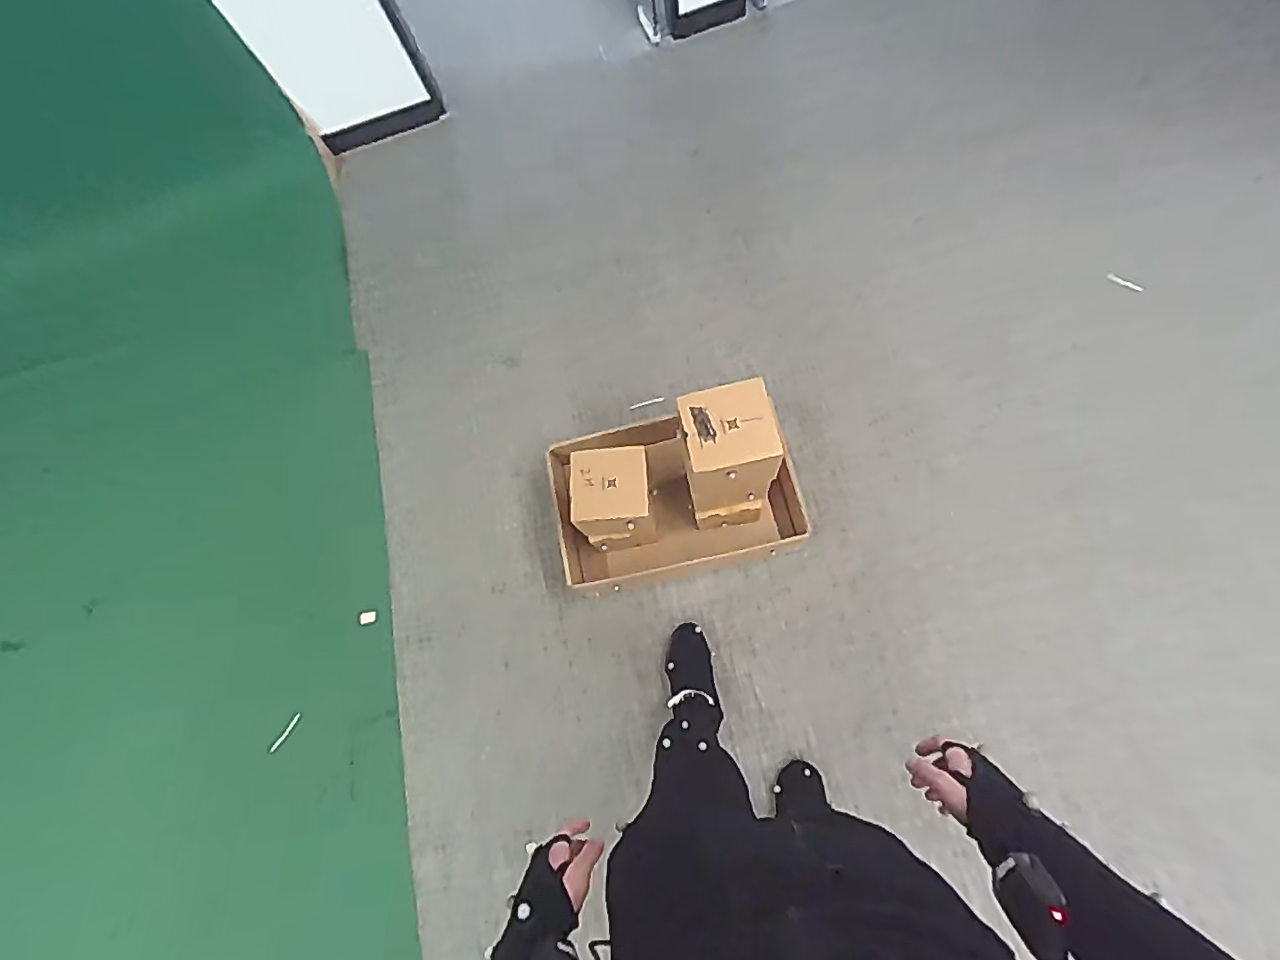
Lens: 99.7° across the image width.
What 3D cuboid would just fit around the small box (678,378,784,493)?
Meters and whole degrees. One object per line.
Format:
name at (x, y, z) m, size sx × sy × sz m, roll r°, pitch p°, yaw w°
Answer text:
small box at (0.184, -0.083, 1.109) m, size 0.179 × 0.176 × 0.168 m, roll -12°, pitch 73°, yaw 5°

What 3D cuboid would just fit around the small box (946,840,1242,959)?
small box at (0.329, 0.394, 0.380) m, size 0.179 × 0.176 × 0.168 m, roll 9°, pitch 75°, yaw 23°
